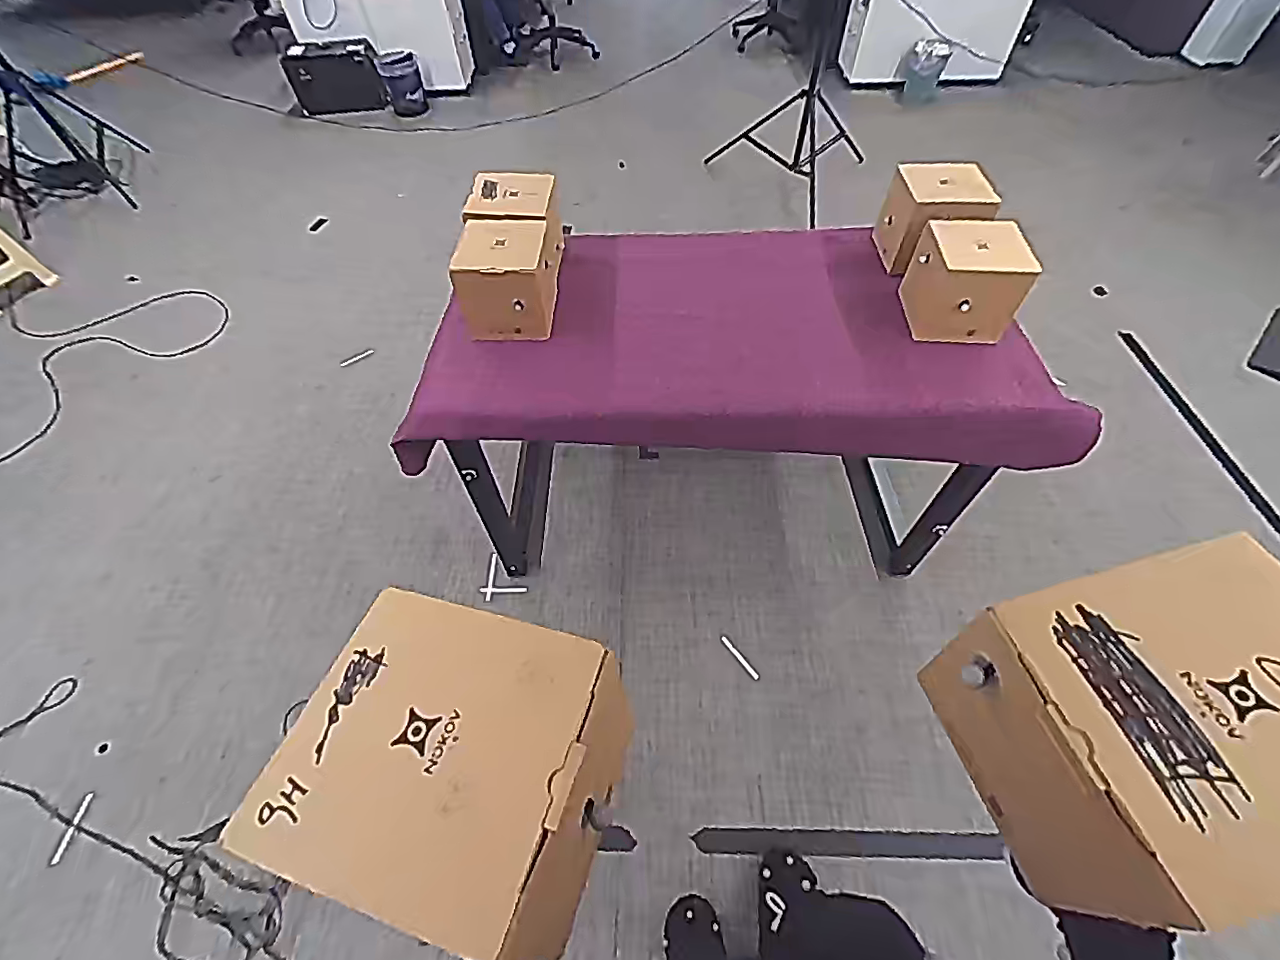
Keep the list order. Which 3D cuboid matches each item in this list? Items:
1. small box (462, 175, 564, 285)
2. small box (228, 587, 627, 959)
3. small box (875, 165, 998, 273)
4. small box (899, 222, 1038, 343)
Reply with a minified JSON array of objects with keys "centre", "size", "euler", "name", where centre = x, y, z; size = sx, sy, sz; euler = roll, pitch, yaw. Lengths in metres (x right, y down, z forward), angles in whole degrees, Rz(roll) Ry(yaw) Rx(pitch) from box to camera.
[{"centre":[-0.276,-0.560,1.215],"size":[0.179,0.176,0.168],"euler":[2,56,1],"name":"small box"},{"centre":[-0.116,0.205,0.383],"size":[0.179,0.176,0.168],"euler":[11,52,14],"name":"small box"},{"centre":[0.645,-0.579,1.210],"size":[0.179,0.176,0.168],"euler":[1,55,1],"name":"small box"},{"centre":[0.644,-0.393,1.085],"size":[0.168,0.176,0.179],"euler":[3,53,5],"name":"small box"}]
